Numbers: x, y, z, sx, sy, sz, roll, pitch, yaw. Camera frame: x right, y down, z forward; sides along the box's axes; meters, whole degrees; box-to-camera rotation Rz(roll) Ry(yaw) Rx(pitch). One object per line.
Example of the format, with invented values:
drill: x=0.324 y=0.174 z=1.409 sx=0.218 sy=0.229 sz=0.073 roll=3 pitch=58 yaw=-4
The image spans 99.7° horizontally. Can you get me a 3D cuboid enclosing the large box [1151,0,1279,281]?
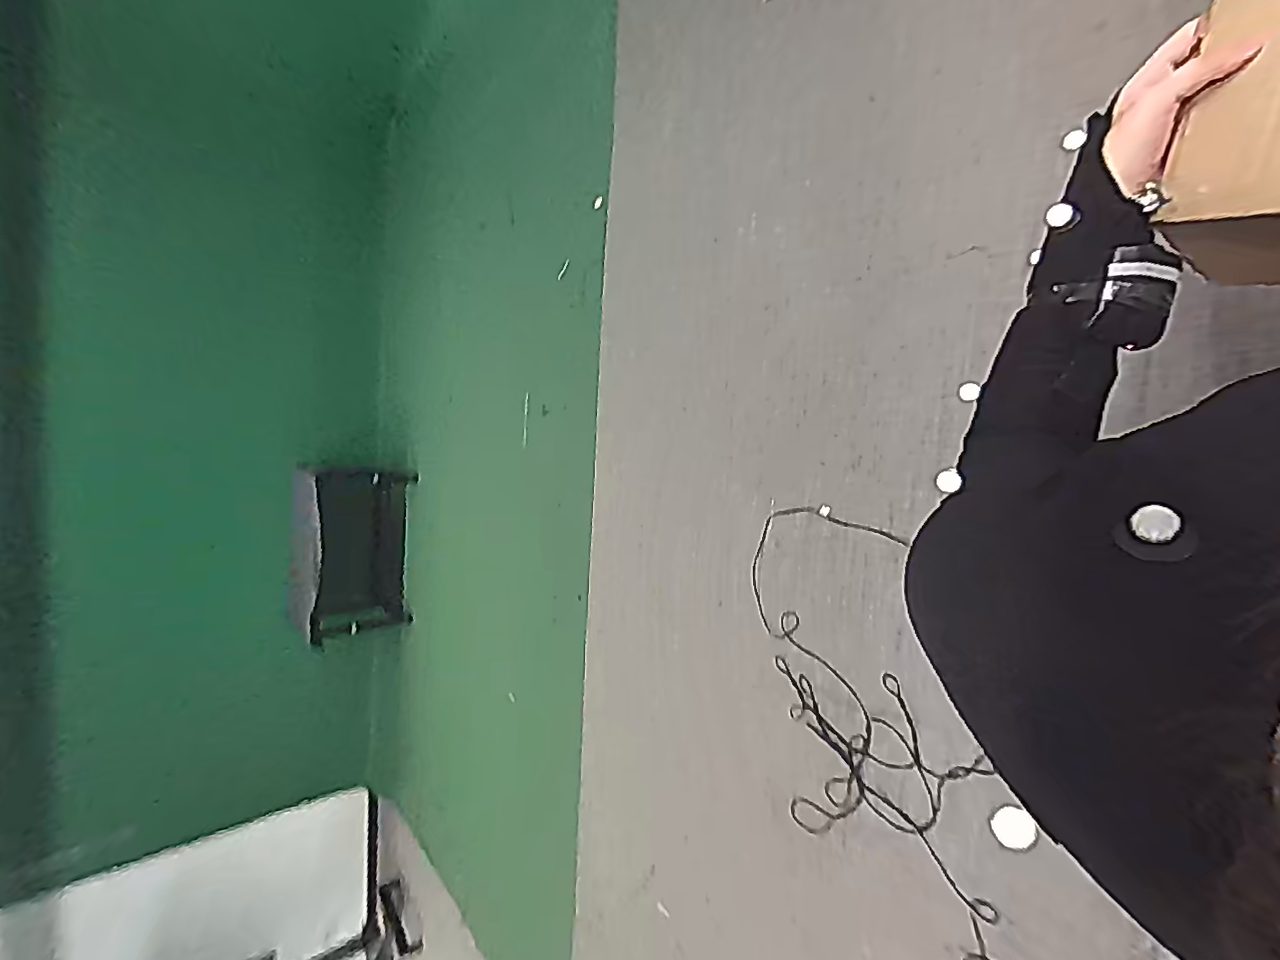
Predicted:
large box: x=0.639 y=-0.308 z=0.315 sx=0.408 sy=0.320 sz=0.320 roll=21 pitch=110 yaw=51
